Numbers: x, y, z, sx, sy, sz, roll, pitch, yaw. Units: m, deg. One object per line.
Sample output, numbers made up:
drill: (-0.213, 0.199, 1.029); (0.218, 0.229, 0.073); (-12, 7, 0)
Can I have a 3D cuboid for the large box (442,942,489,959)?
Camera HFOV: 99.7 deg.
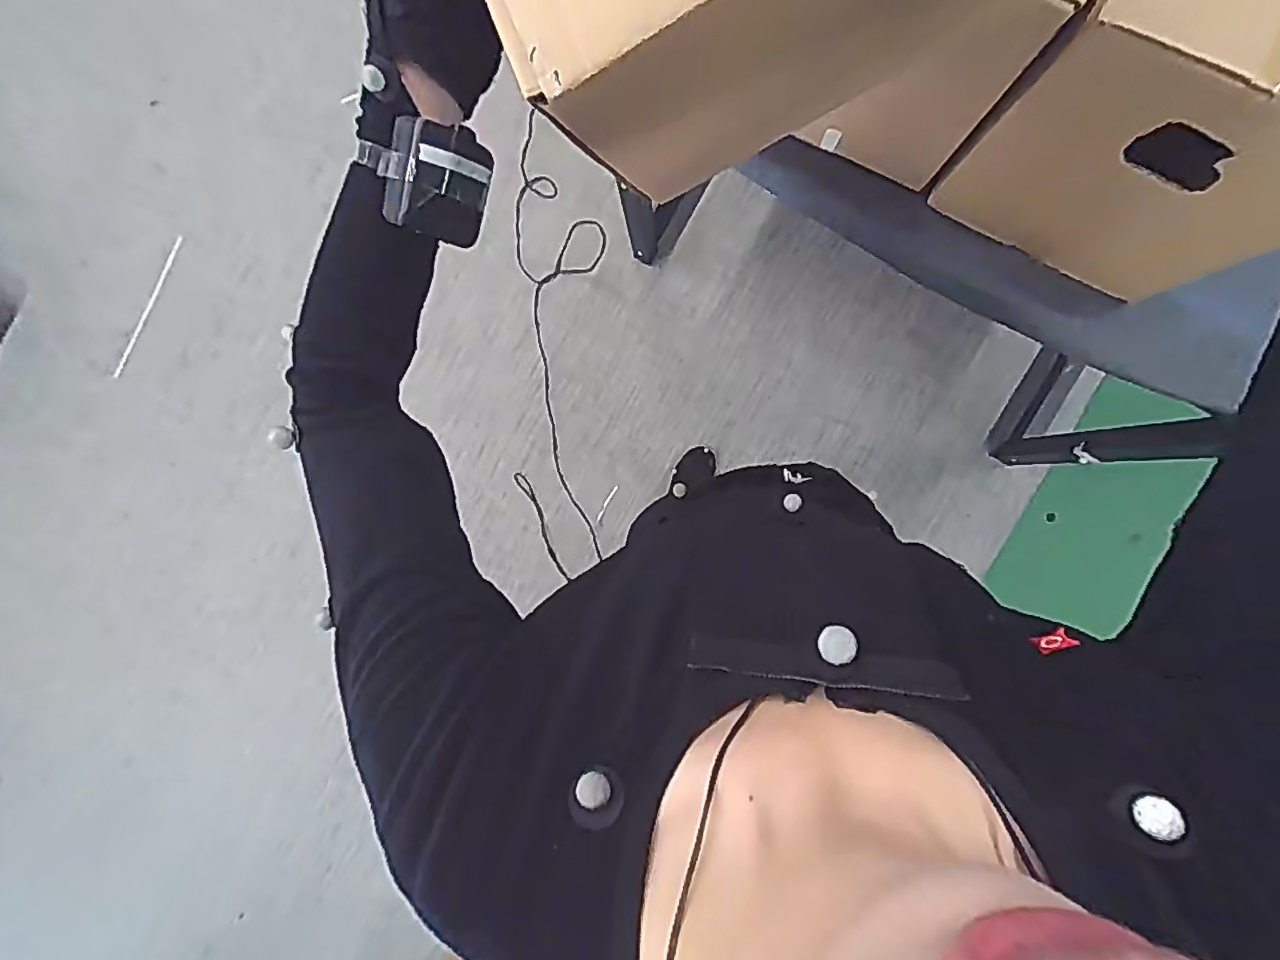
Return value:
large box: (-0.449, 1.562, 1.422); (0.408, 0.320, 0.320); (30, 93, 2)
